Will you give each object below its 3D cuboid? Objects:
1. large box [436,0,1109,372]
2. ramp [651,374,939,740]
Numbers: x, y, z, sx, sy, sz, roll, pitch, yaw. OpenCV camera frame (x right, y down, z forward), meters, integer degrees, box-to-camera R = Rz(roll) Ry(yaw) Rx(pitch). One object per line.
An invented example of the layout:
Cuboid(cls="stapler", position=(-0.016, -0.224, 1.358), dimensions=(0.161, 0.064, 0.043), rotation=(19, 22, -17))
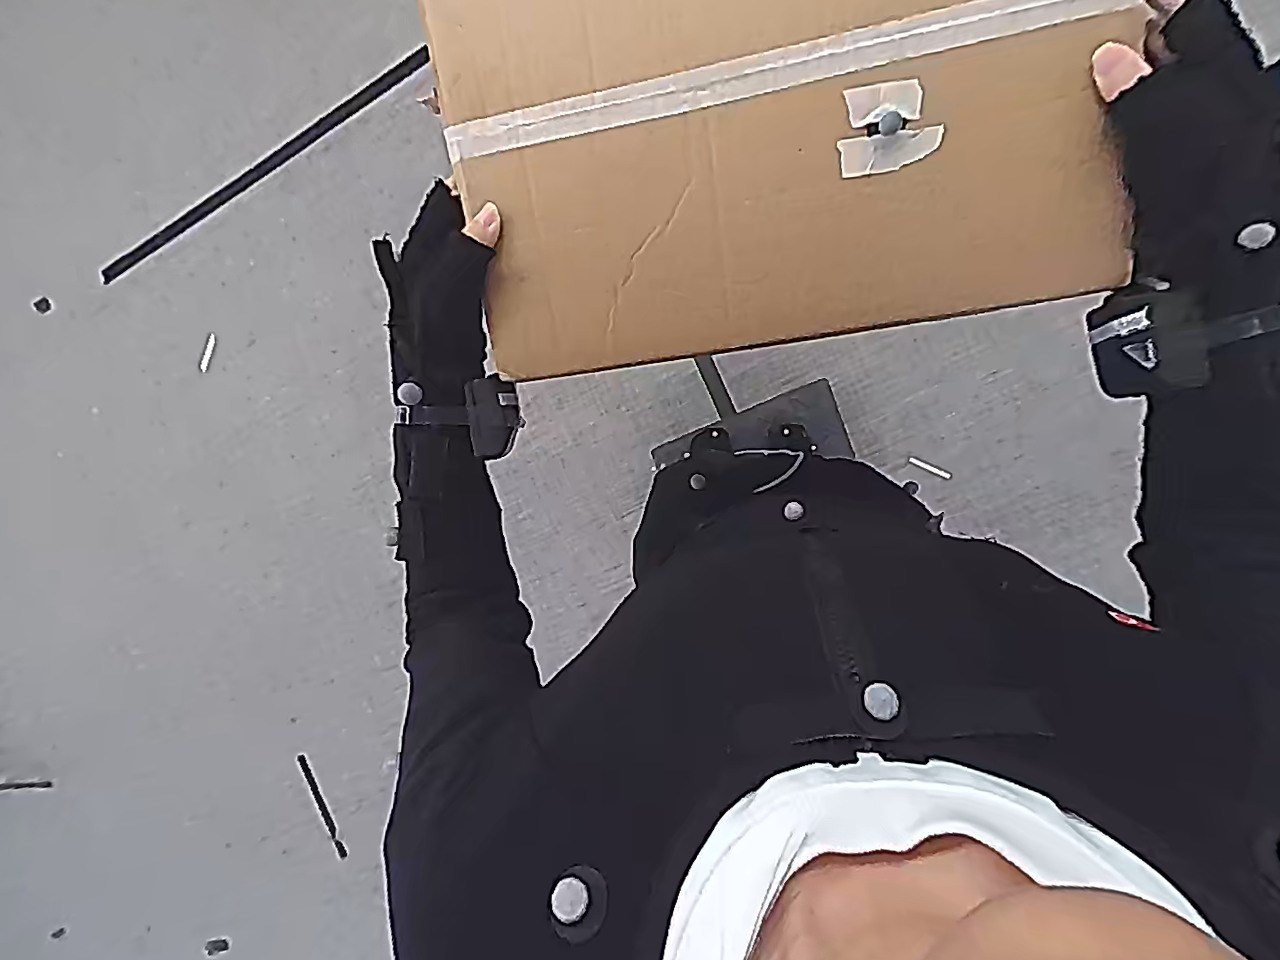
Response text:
Cuboid(cls="large box", position=(0.090, -0.286, 0.484), dimensions=(0.408, 0.320, 0.320), rotation=(-7, 103, 8))
Cuboid(cls="ramp", position=(0.449, 0.259, 1.507), dimensions=(0.509, 0.206, 0.991), rotation=(-24, 91, 9))
